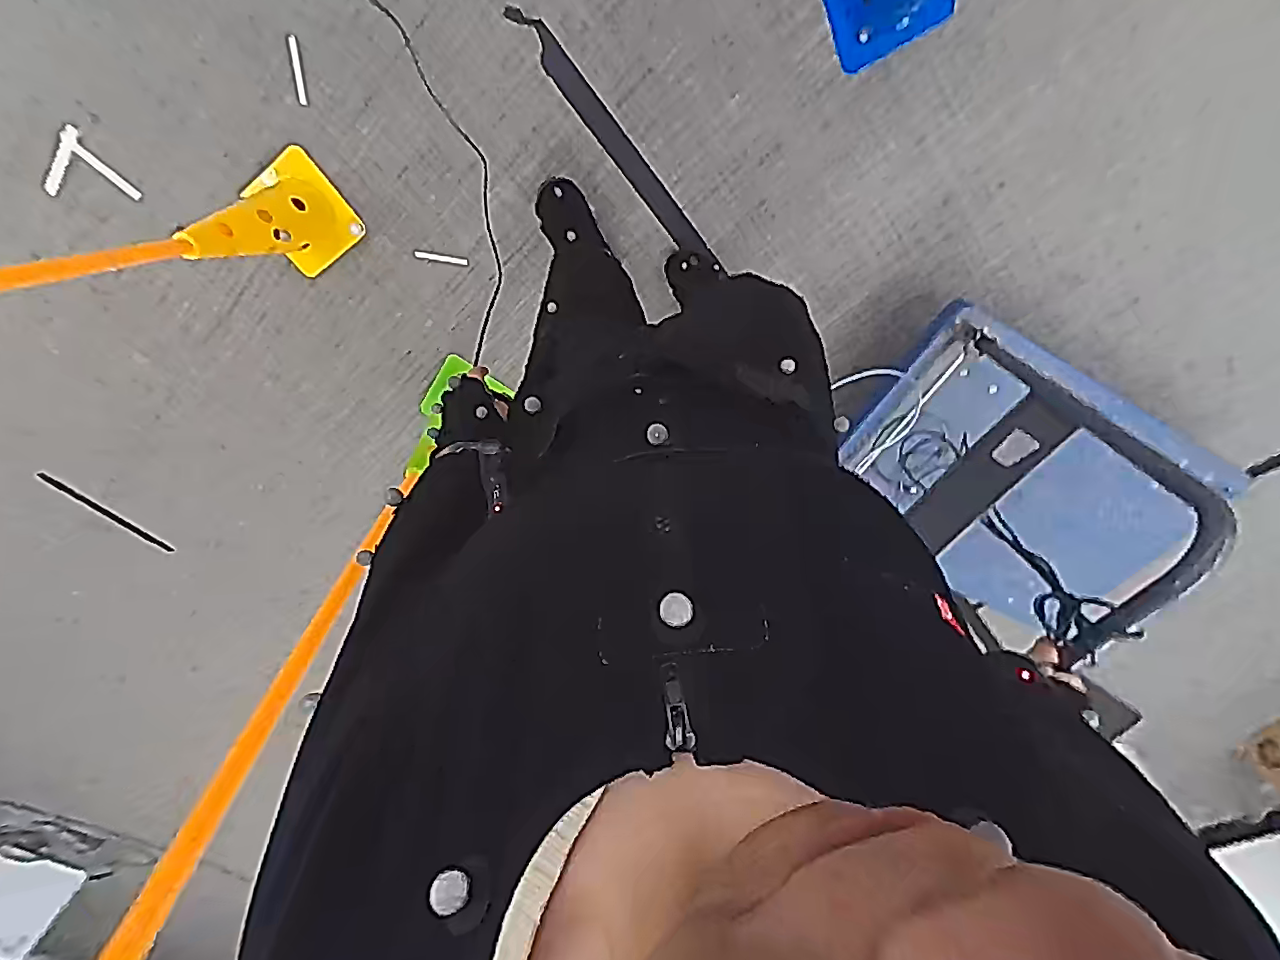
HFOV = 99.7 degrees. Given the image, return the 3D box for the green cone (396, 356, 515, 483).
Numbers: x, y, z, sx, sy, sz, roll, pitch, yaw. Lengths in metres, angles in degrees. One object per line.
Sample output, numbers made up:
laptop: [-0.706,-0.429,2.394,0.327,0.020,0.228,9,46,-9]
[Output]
green cone: [-0.452,-0.104,1.233,0.202,0.368,0.200,32,119,-15]

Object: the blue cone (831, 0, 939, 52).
blue cone: [0.404,-0.777,0.775,0.193,0.380,0.192,-22,118,16]
